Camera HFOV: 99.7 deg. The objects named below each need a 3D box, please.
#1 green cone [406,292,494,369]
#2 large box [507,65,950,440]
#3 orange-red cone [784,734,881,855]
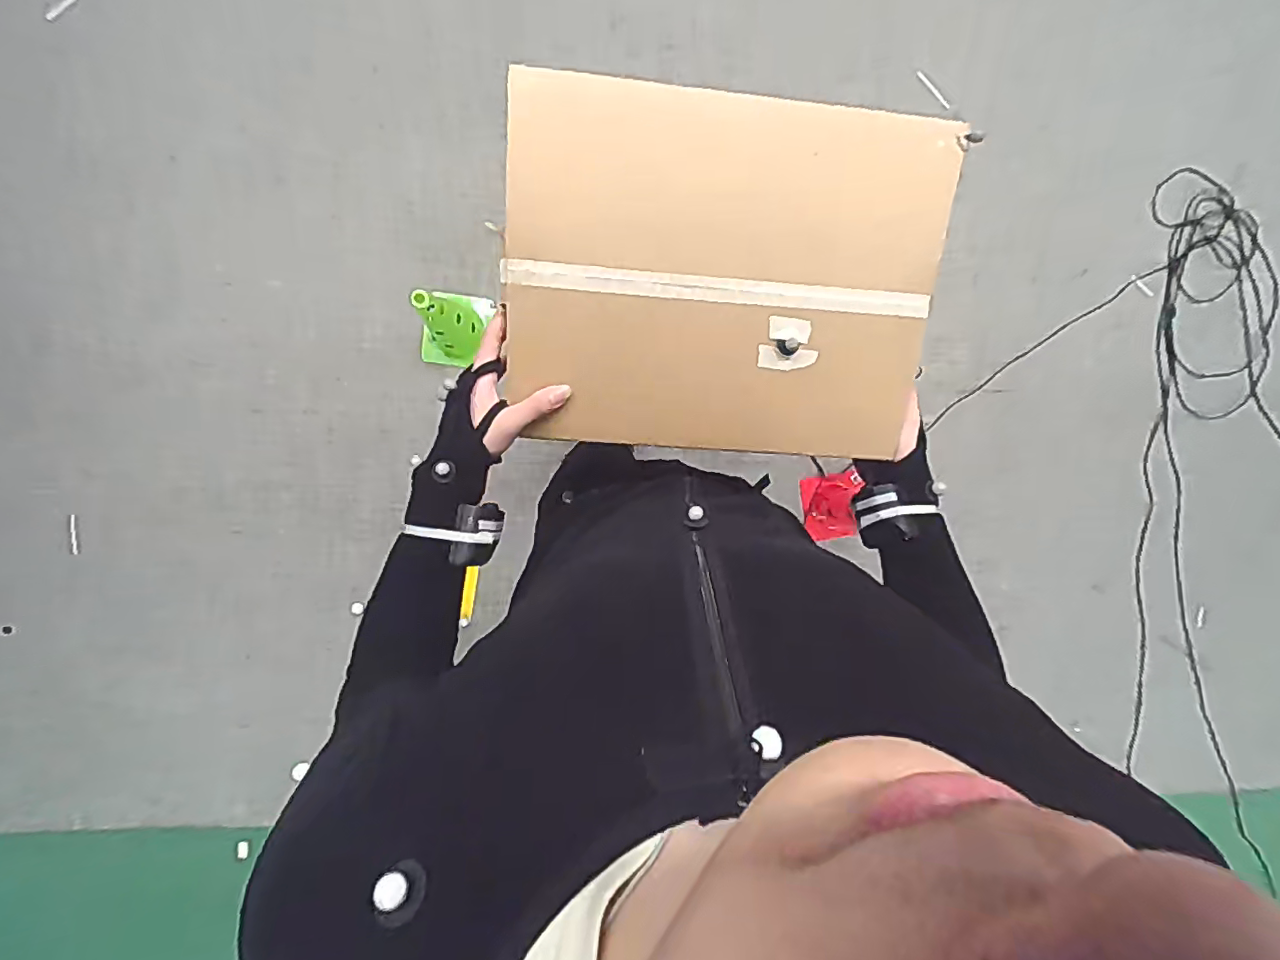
[{"bbox_3d":[-0.512,-0.410,1.370,0.200,0.368,0.202,6,95,-4],"label":"green cone"},{"bbox_3d":[0.062,-0.239,0.655,0.408,0.320,0.320,3,108,-6],"label":"large box"},{"bbox_3d":[0.578,0.914,1.535,0.199,0.360,0.198,8,94,-6],"label":"orange-red cone"}]
